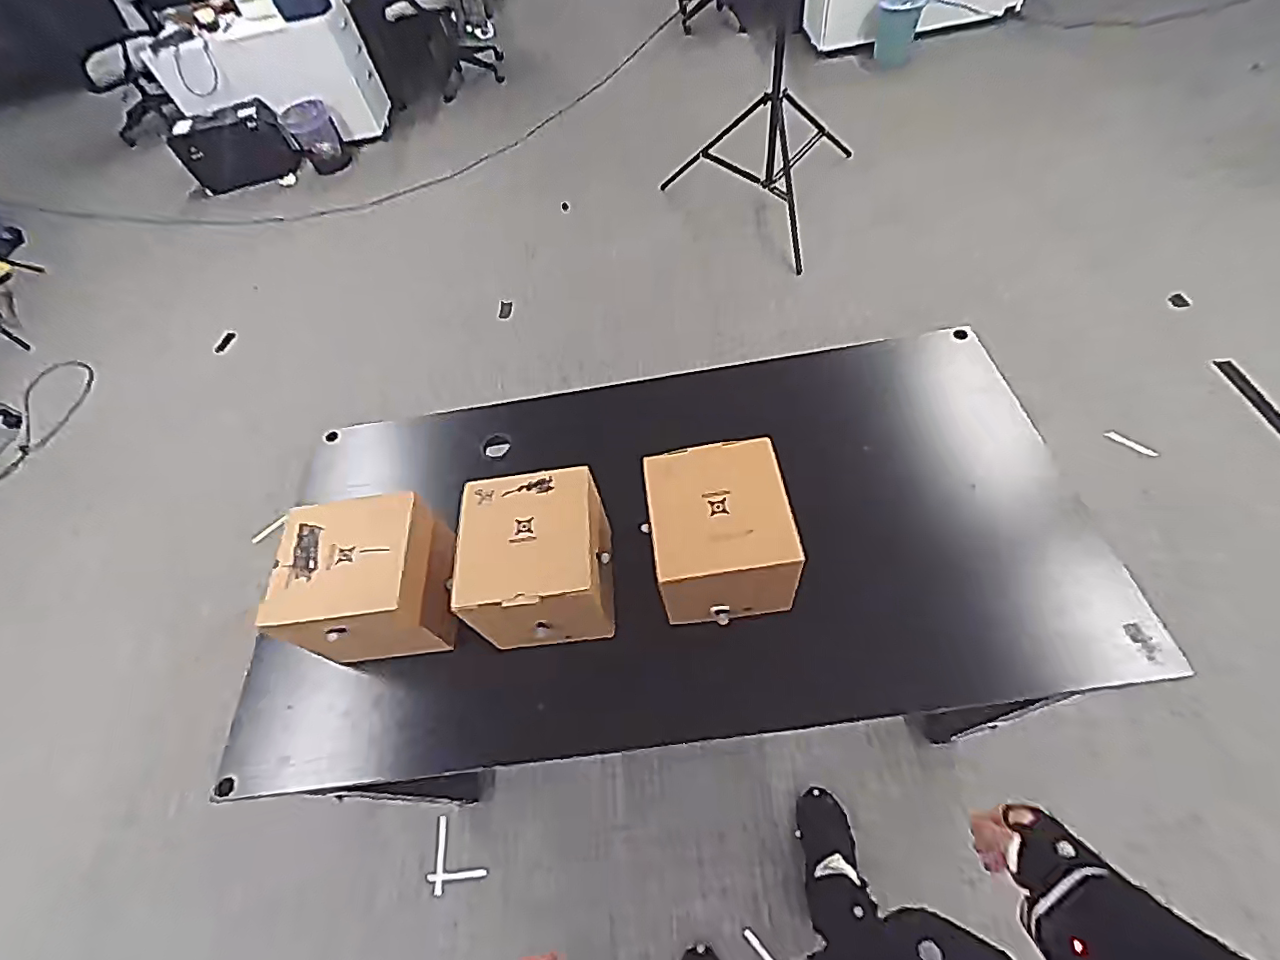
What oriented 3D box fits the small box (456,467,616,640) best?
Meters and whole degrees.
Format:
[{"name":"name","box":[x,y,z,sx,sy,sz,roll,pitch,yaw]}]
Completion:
[{"name":"small box","box":[-0.129,0.108,0.730,0.168,0.176,0.179,-8,57,4]}]

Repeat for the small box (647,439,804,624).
[{"name":"small box","box":[0.106,0.073,0.719,0.168,0.176,0.179,-10,58,4]}]

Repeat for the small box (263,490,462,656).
[{"name":"small box","box":[-0.359,0.135,0.746,0.179,0.176,0.168,-8,57,3]}]
